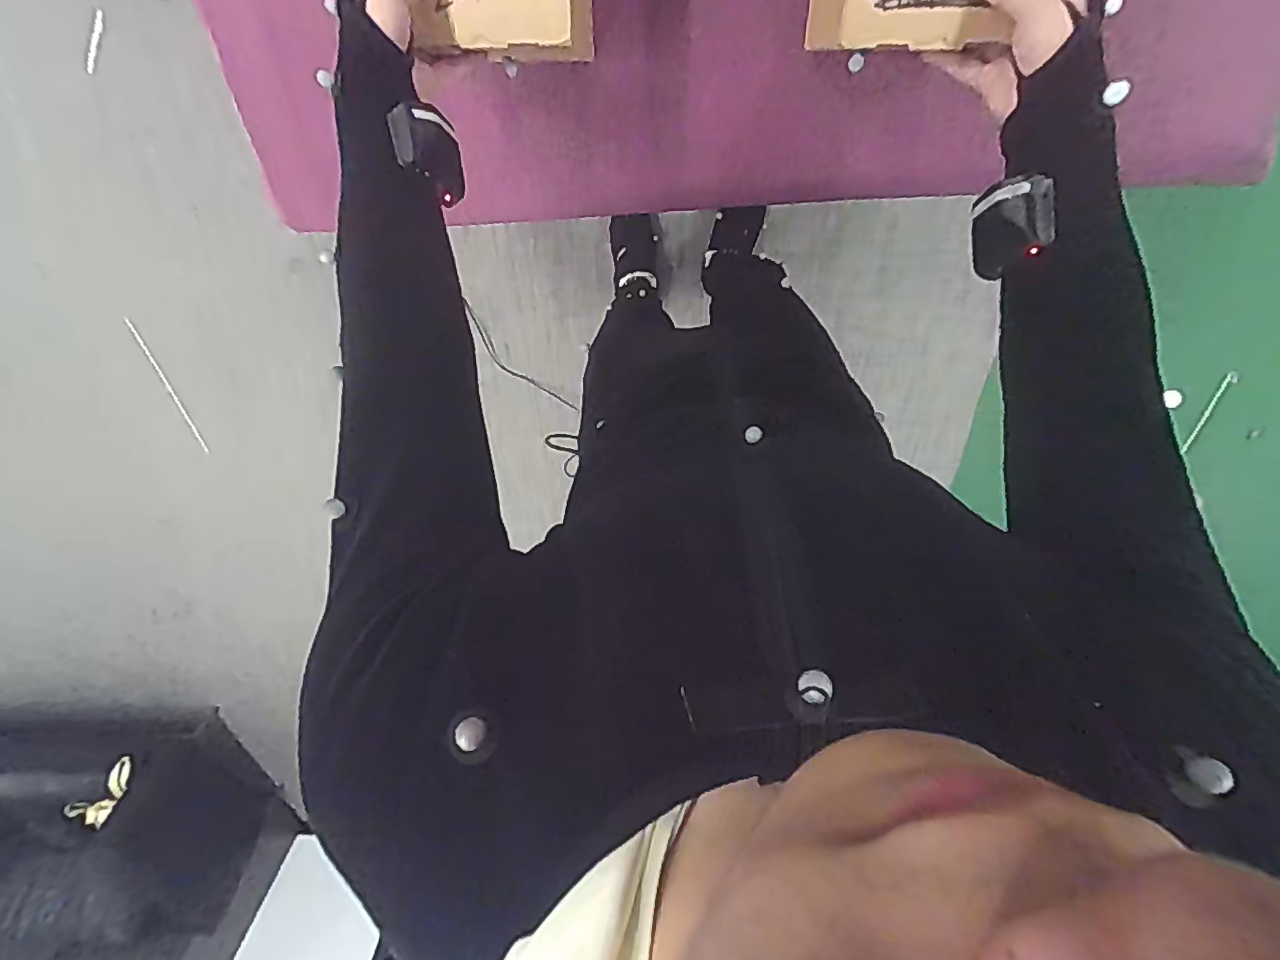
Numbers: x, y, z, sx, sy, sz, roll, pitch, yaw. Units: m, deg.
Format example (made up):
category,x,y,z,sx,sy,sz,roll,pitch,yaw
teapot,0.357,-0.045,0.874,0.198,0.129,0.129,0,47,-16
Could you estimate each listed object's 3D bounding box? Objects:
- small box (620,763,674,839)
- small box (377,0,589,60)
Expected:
category,x,y,z,sx,sy,sz,roll,pitch,yaw
small box,0.024,1.108,1.871,0.168,0.176,0.179,6,125,0
small box,-0.139,-0.502,0.493,0.168,0.176,0.179,2,125,2
